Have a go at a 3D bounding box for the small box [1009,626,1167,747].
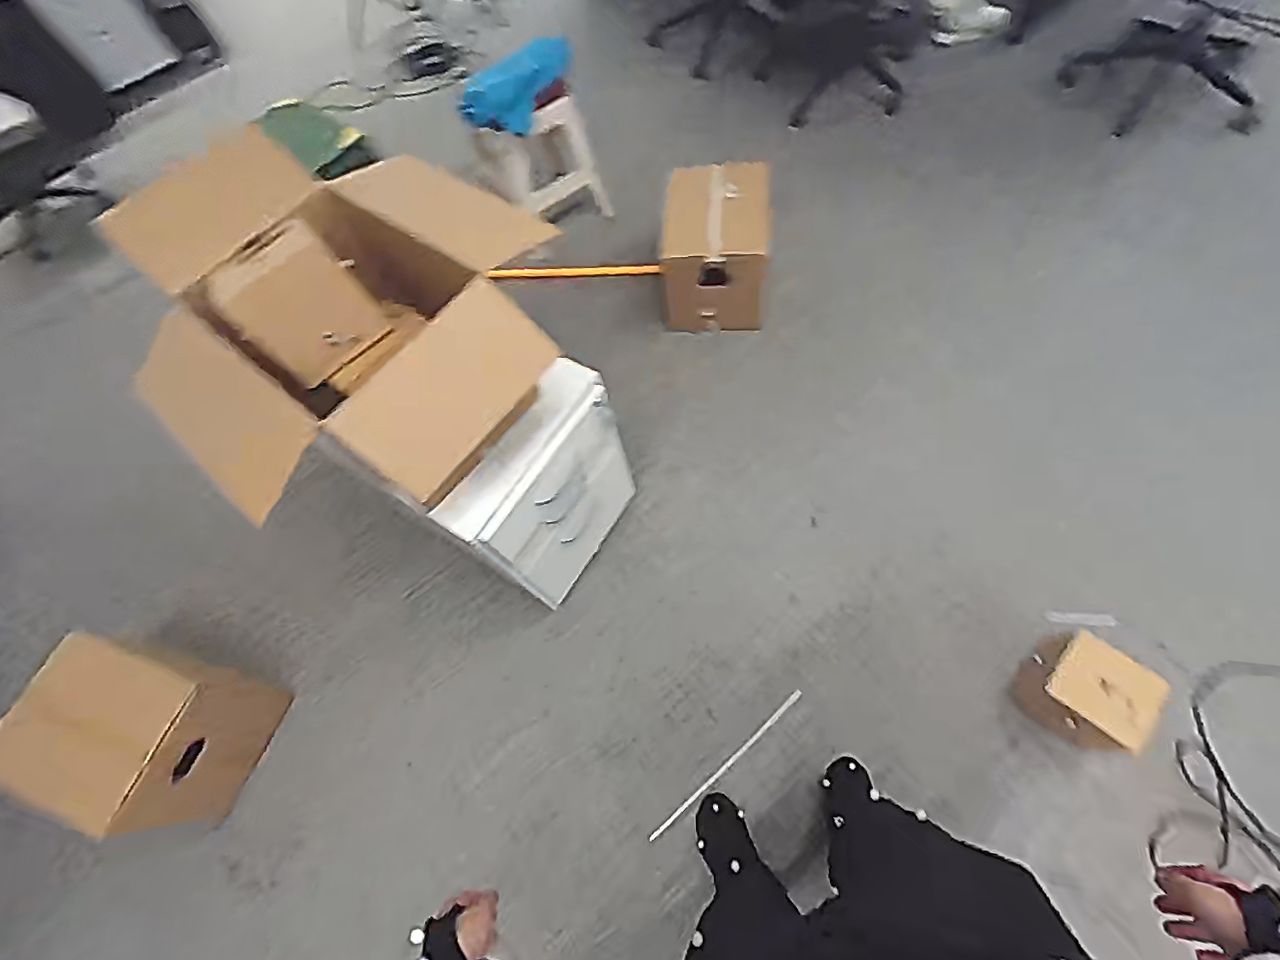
[{"bbox_3d":[0.941,0.446,1.155,0.179,0.176,0.168,37,74,21],"label":"small box"}]
